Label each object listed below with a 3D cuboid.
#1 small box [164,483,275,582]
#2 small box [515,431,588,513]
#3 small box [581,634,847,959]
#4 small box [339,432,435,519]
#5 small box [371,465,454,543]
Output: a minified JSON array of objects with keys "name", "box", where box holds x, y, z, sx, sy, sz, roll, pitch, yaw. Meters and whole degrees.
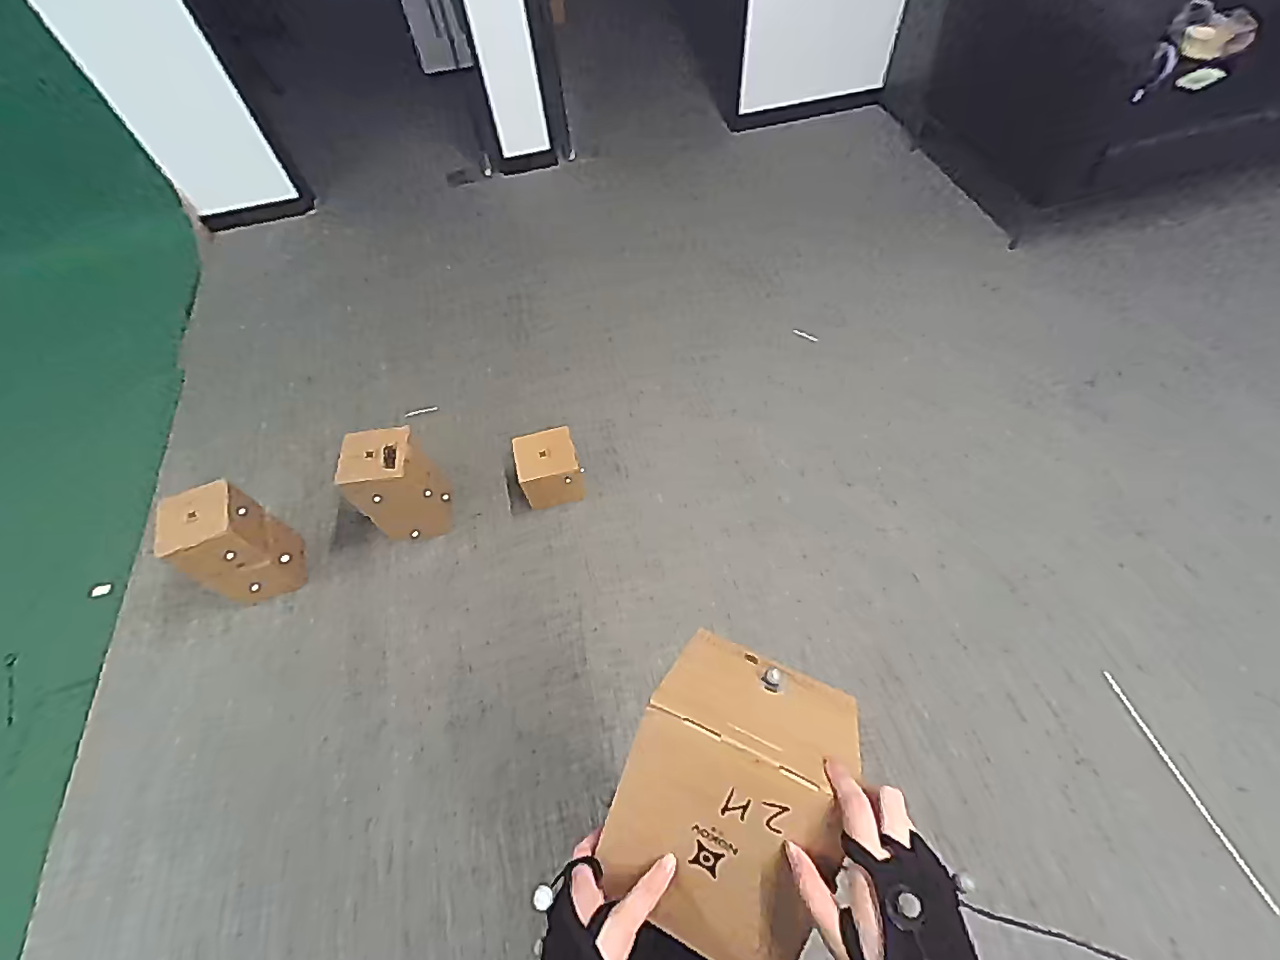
[{"name":"small box","box":[-1.082,0.144,1.403,0.168,0.176,0.179,-22,58,-11]},{"name":"small box","box":[-0.268,-0.019,1.650,0.179,0.176,0.168,-14,57,-6]},{"name":"small box","box":[0.074,0.270,0.484,0.168,0.176,0.179,21,101,16]},{"name":"small box","box":[-0.677,-0.009,1.473,0.179,0.176,0.168,-7,57,0]},{"name":"small box","box":[-0.669,0.075,1.615,0.179,0.176,0.168,-7,56,-2]}]
